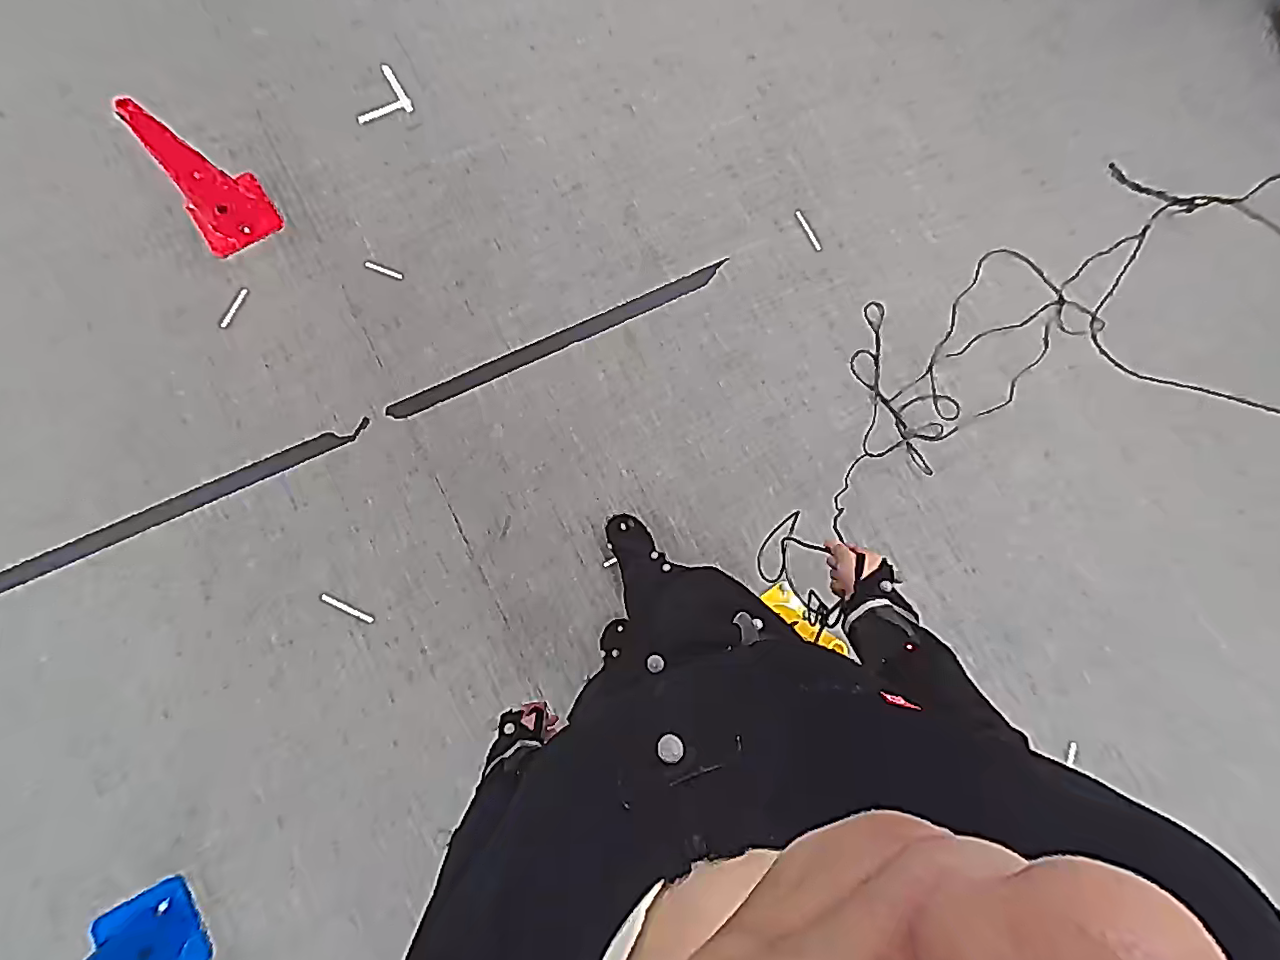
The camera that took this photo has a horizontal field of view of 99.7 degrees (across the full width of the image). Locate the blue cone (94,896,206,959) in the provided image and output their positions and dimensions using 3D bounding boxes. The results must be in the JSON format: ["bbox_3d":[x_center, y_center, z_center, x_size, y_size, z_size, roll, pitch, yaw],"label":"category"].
[{"bbox_3d":[-1.032,0.986,0.991,0.193,0.380,0.192,-26,84,-8],"label":"blue cone"}]

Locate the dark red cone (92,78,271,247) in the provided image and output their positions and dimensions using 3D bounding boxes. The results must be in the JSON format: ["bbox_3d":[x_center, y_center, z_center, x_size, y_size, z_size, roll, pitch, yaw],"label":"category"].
[{"bbox_3d":[-1.090,-0.752,1.264,0.202,0.394,0.201,-34,85,-9],"label":"dark red cone"}]
